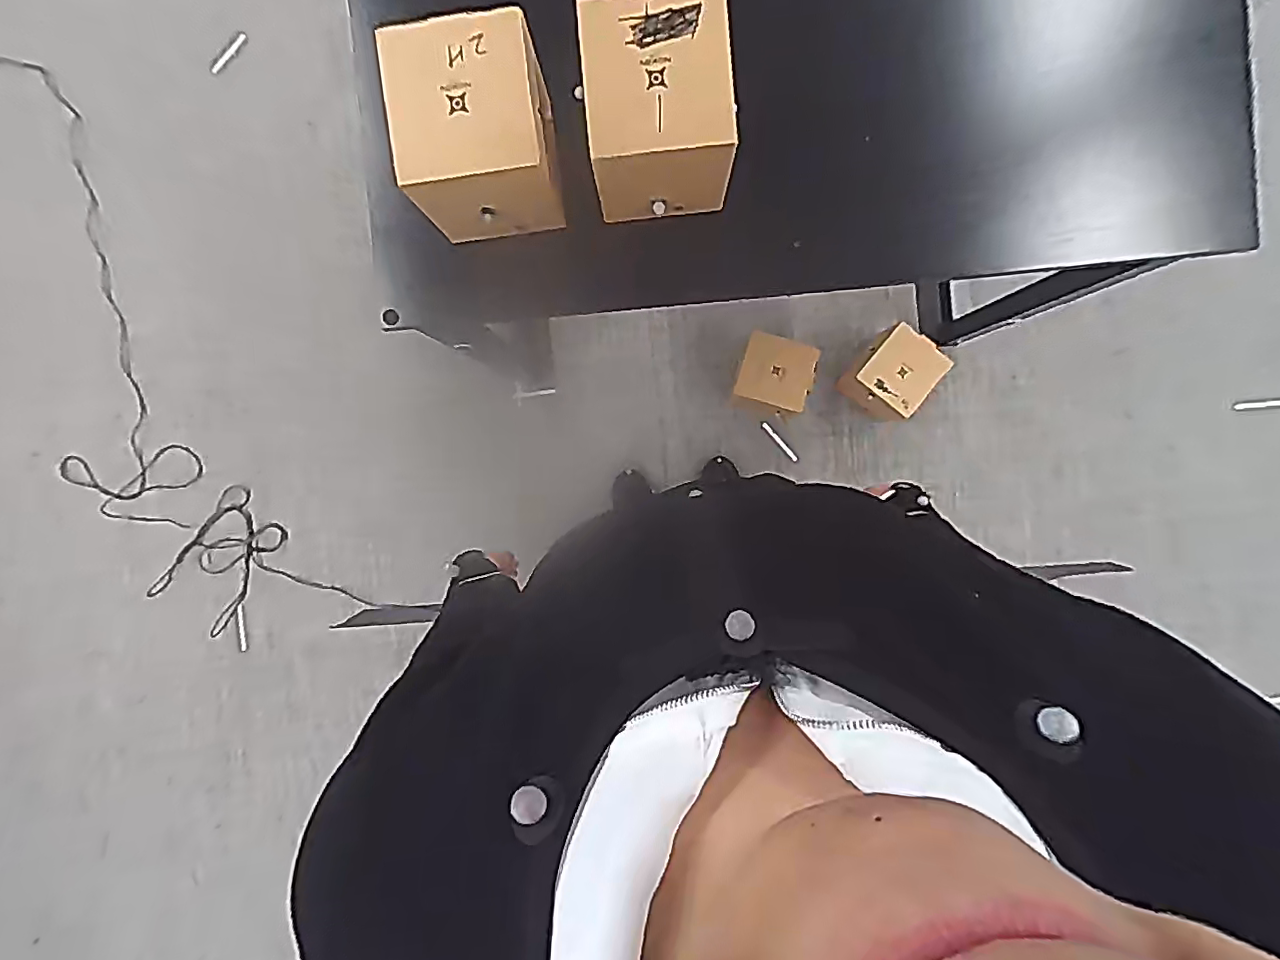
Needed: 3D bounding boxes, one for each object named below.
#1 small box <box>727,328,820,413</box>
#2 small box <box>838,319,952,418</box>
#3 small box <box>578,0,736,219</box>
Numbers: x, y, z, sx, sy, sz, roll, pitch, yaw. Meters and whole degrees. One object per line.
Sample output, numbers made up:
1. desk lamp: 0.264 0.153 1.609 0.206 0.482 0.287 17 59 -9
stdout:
1. small box: 0.337 -0.274 1.399 0.179 0.176 0.168 16 93 2
2. small box: 0.640 -0.277 1.384 0.168 0.176 0.179 39 94 0
3. small box: 0.021 -0.453 0.671 0.168 0.176 0.179 -5 93 3
